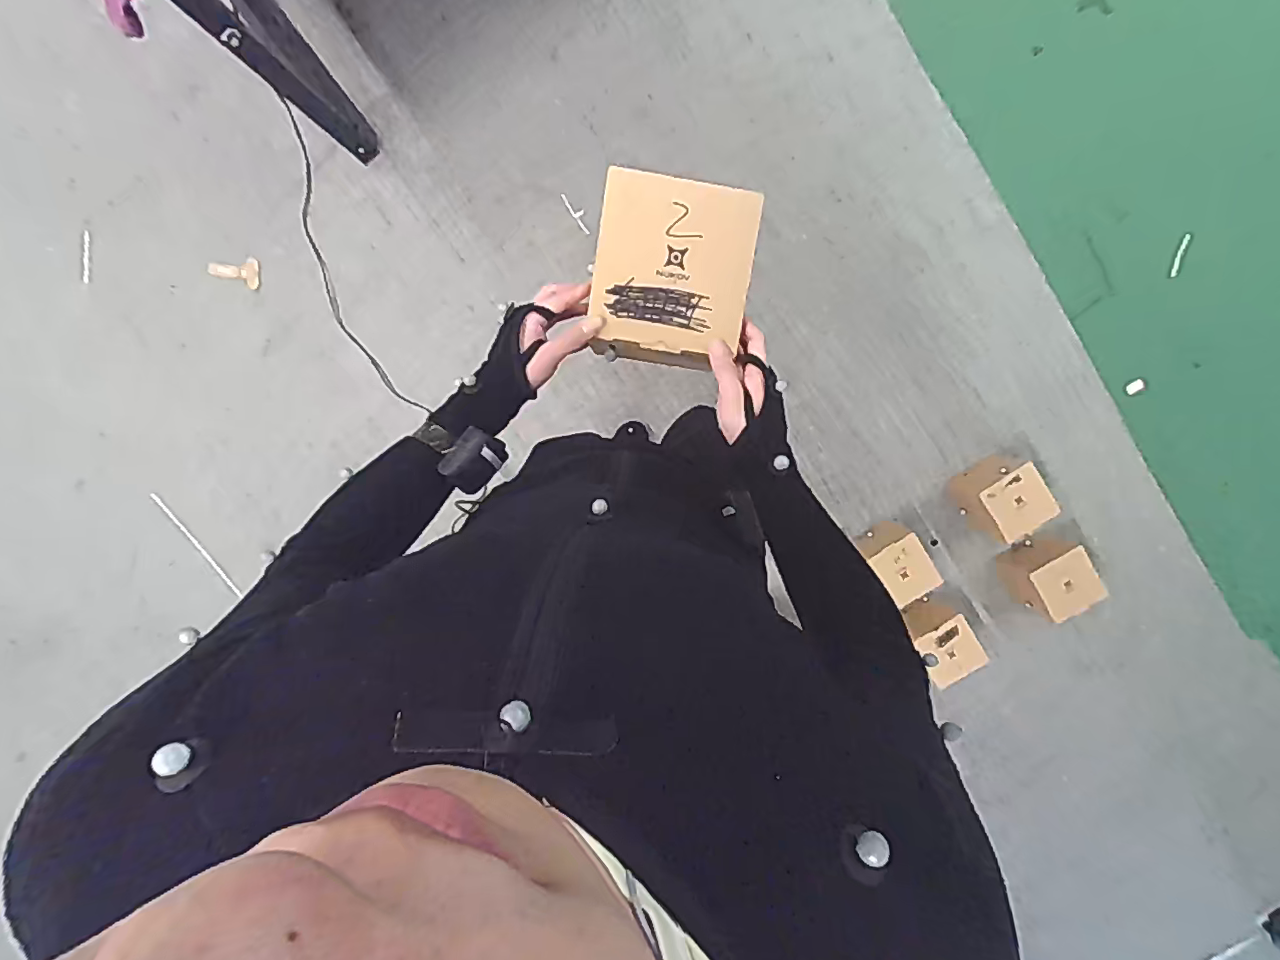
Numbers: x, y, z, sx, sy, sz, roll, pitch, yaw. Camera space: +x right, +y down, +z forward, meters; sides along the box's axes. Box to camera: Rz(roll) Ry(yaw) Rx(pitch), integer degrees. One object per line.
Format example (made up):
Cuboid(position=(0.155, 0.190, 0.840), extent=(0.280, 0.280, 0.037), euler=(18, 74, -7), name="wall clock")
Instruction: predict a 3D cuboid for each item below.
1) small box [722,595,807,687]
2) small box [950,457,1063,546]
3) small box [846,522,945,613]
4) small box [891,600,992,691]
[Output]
Cuboid(position=(0.364, 0.472, 1.615), extent=(0.179, 0.176, 0.168), euler=(-32, 97, 6), name="small box")
Cuboid(position=(1.033, 0.054, 1.536), extent=(0.168, 0.176, 0.179), euler=(-34, 98, 5), name="small box")
Cuboid(position=(0.734, 0.246, 1.571), extent=(0.168, 0.176, 0.179), euler=(-33, 97, 6), name="small box")
Cuboid(position=(0.884, 0.478, 1.603), extent=(0.168, 0.176, 0.179), euler=(-32, 97, 6), name="small box")
